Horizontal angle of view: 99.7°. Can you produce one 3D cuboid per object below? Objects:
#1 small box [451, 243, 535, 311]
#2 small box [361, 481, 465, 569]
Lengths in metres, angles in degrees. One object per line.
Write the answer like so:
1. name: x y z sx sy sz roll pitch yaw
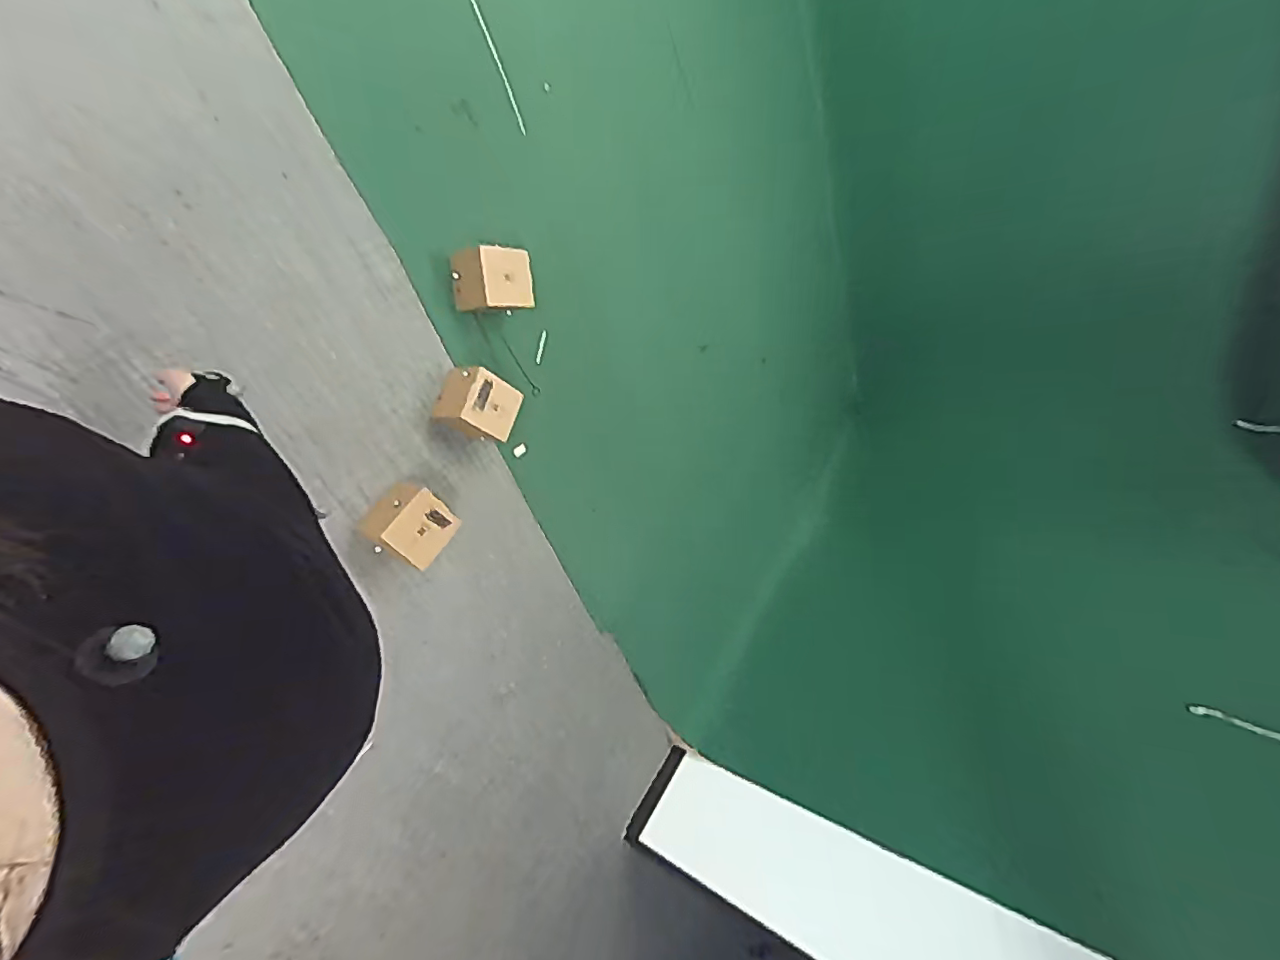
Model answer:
1. small box: -0.446 -0.612 1.649 0.179 0.176 0.168 -19 109 -47
2. small box: -0.637 0.118 1.516 0.179 0.176 0.168 -57 133 -27
